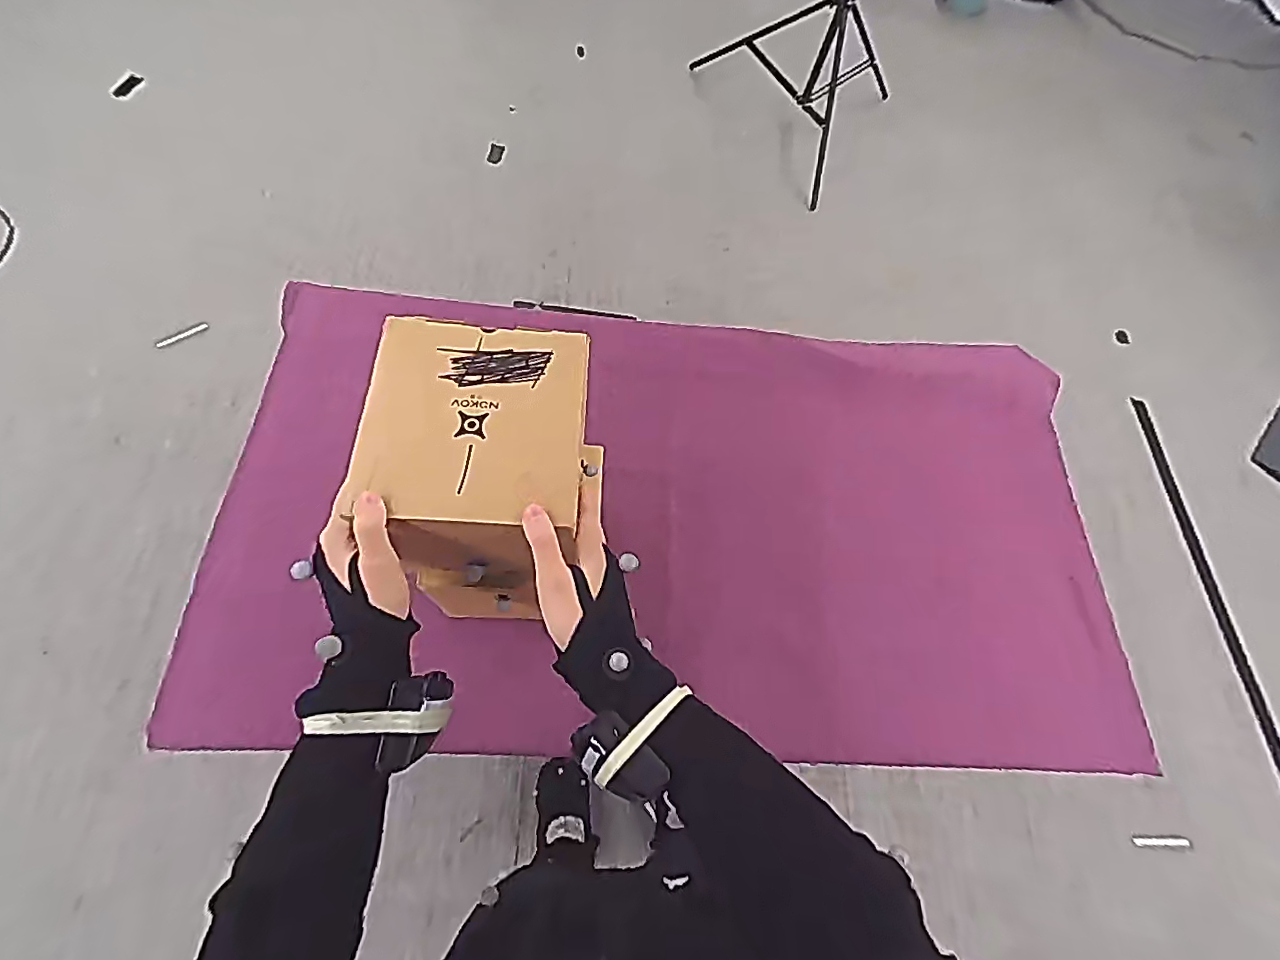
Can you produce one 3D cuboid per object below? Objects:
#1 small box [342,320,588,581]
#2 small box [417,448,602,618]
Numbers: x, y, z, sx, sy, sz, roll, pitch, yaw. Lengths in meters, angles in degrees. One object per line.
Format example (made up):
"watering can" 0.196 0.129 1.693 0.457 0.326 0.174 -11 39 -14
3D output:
"small box" -0.137 -0.016 0.493 0.168 0.176 0.179 3 67 -6
"small box" -0.140 0.066 0.637 0.179 0.176 0.168 3 66 -6
